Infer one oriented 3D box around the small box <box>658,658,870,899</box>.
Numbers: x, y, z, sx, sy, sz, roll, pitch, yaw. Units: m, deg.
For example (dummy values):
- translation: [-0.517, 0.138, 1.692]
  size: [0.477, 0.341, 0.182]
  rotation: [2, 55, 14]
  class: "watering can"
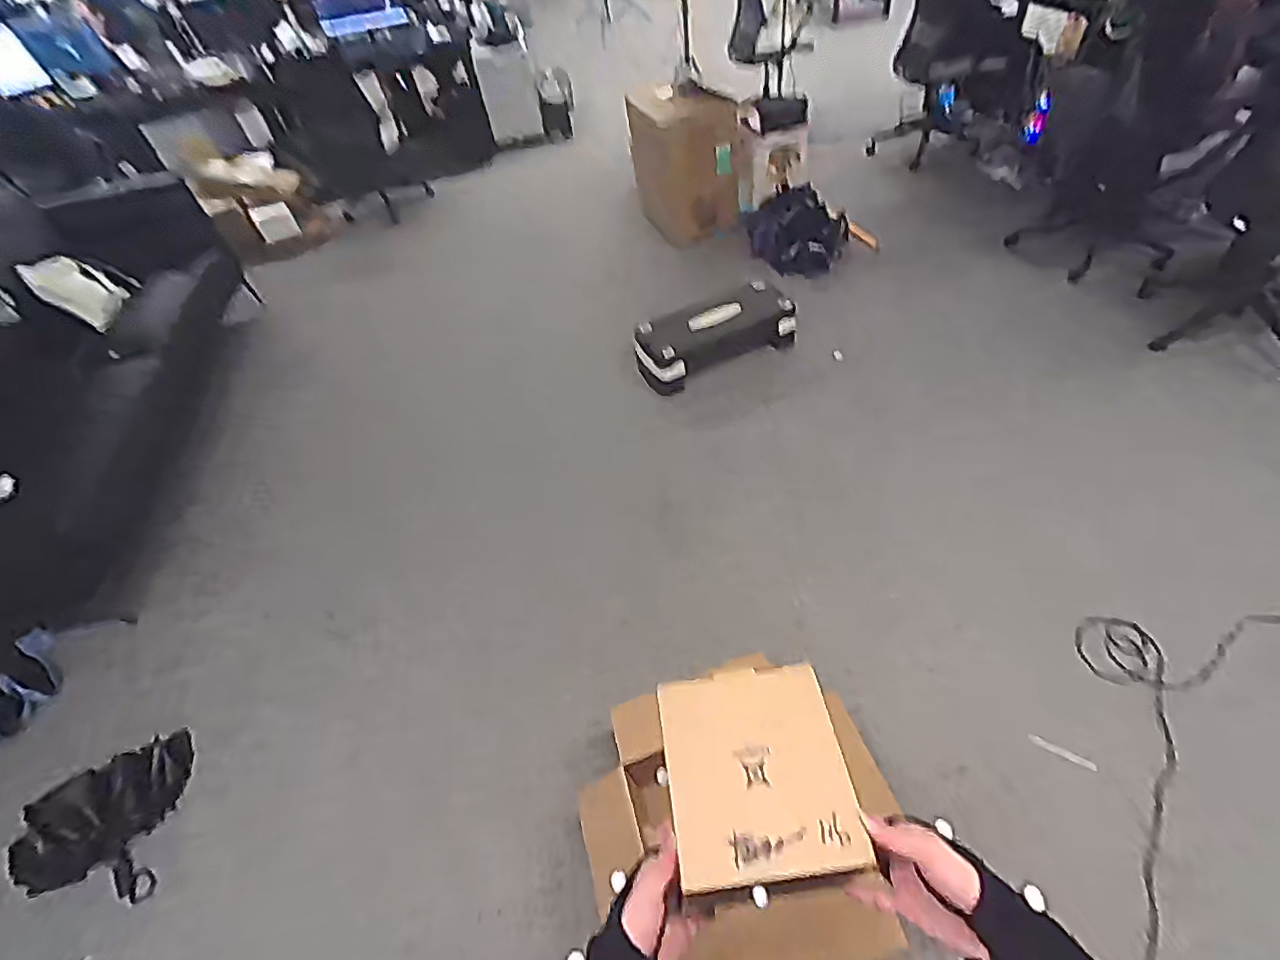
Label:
- translation: [0.112, 0.313, 0.567]
  size: [0.168, 0.176, 0.179]
  rotation: [-9, 48, 1]
  class: "small box"
